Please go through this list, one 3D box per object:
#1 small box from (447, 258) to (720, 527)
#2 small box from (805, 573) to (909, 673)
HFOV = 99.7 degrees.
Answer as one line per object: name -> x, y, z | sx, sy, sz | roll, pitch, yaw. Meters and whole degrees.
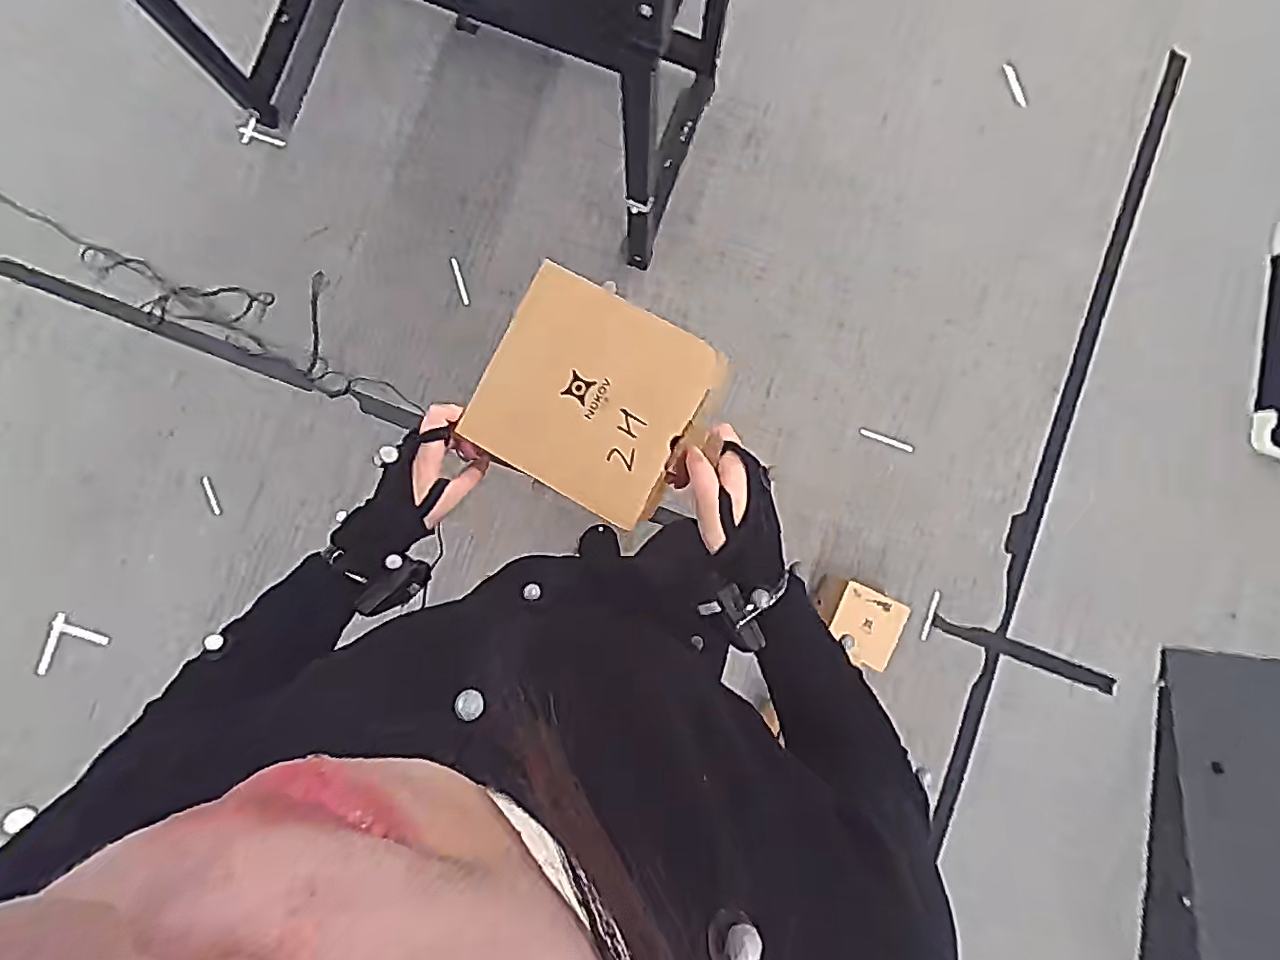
small box -> -0.039, -0.071, 0.515 | 0.179, 0.176, 0.168 | 29, 94, 7
small box -> 0.546, 0.360, 1.393 | 0.168, 0.176, 0.179 | 26, 89, 1
